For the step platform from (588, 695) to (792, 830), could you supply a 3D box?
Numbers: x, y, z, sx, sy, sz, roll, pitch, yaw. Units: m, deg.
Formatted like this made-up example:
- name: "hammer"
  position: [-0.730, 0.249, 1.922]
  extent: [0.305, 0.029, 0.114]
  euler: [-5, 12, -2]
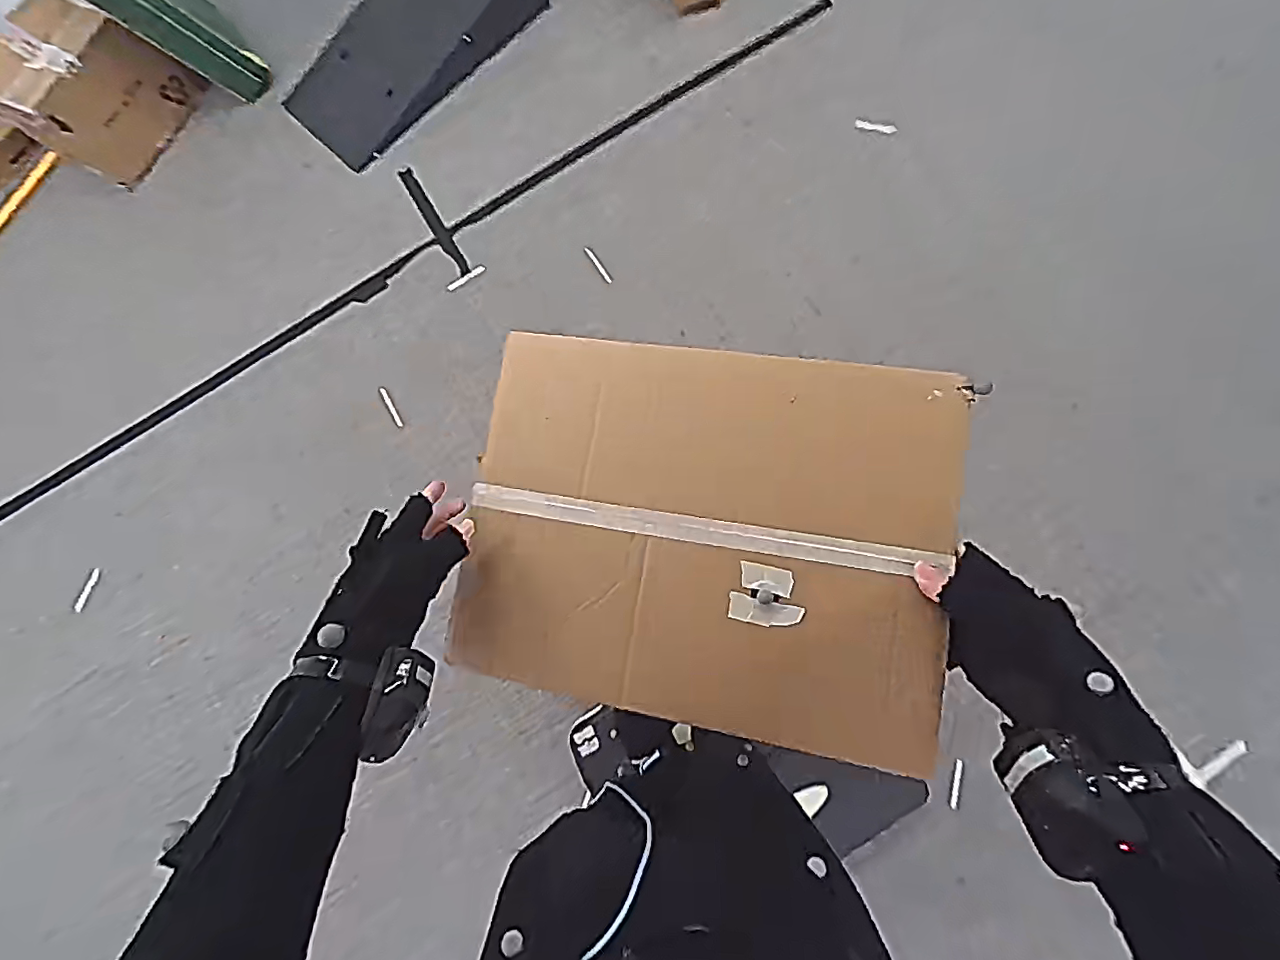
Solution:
- name: "step platform"
  position: [0.213, 0.528, 1.326]
  extent: [0.684, 0.204, 0.286]
  euler: [-33, 75, -3]

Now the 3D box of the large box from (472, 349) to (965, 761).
- name: "large box"
  position: [0.085, 0.066, 0.623]
  extent: [0.408, 0.320, 0.320]
  euler: [9, 85, 13]
